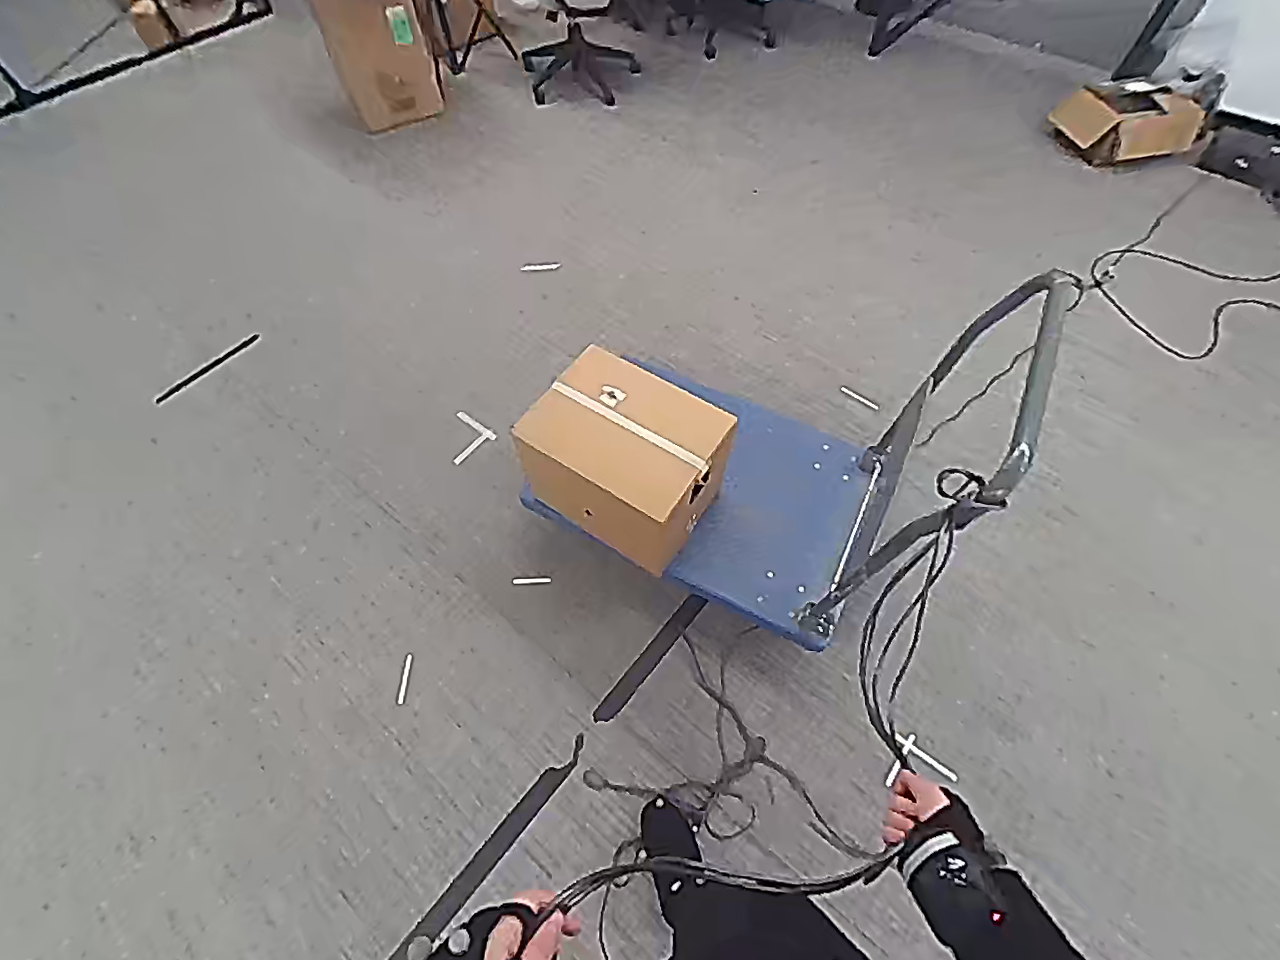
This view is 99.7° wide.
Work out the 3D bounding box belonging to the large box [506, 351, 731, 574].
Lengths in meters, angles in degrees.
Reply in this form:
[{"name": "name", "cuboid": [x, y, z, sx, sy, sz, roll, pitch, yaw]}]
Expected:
[{"name": "large box", "cuboid": [-0.040, -0.037, 1.308, 0.408, 0.320, 0.320, 29, 63, 17]}]
